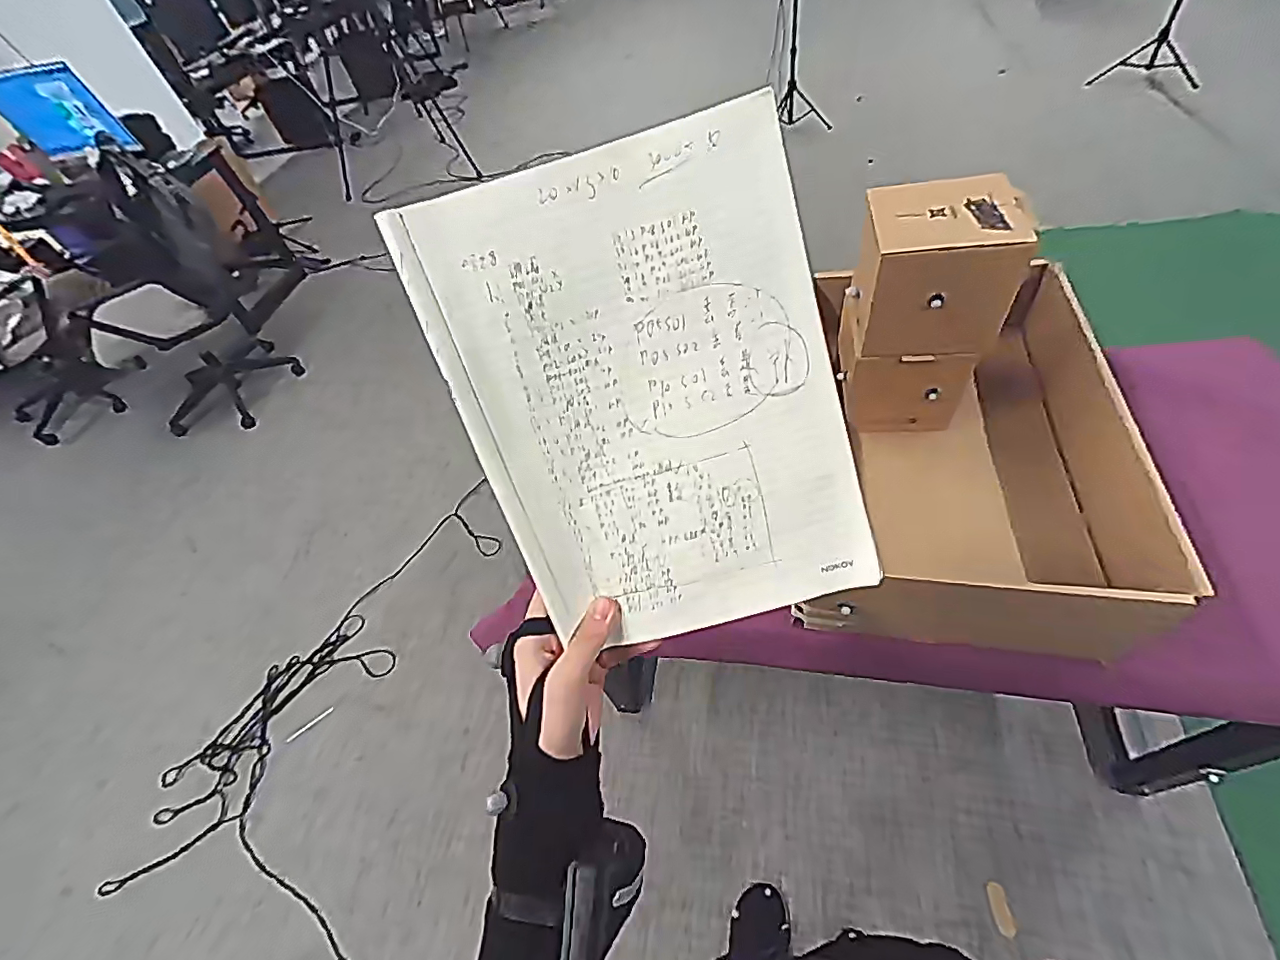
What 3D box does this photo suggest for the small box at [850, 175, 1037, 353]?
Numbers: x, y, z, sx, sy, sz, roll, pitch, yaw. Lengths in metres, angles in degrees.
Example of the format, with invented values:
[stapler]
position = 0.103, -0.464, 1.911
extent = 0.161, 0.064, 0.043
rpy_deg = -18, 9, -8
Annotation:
[small box]
position = 0.404, -0.294, 0.757
extent = 0.179, 0.176, 0.168
rpy_deg = 0, 53, 12
